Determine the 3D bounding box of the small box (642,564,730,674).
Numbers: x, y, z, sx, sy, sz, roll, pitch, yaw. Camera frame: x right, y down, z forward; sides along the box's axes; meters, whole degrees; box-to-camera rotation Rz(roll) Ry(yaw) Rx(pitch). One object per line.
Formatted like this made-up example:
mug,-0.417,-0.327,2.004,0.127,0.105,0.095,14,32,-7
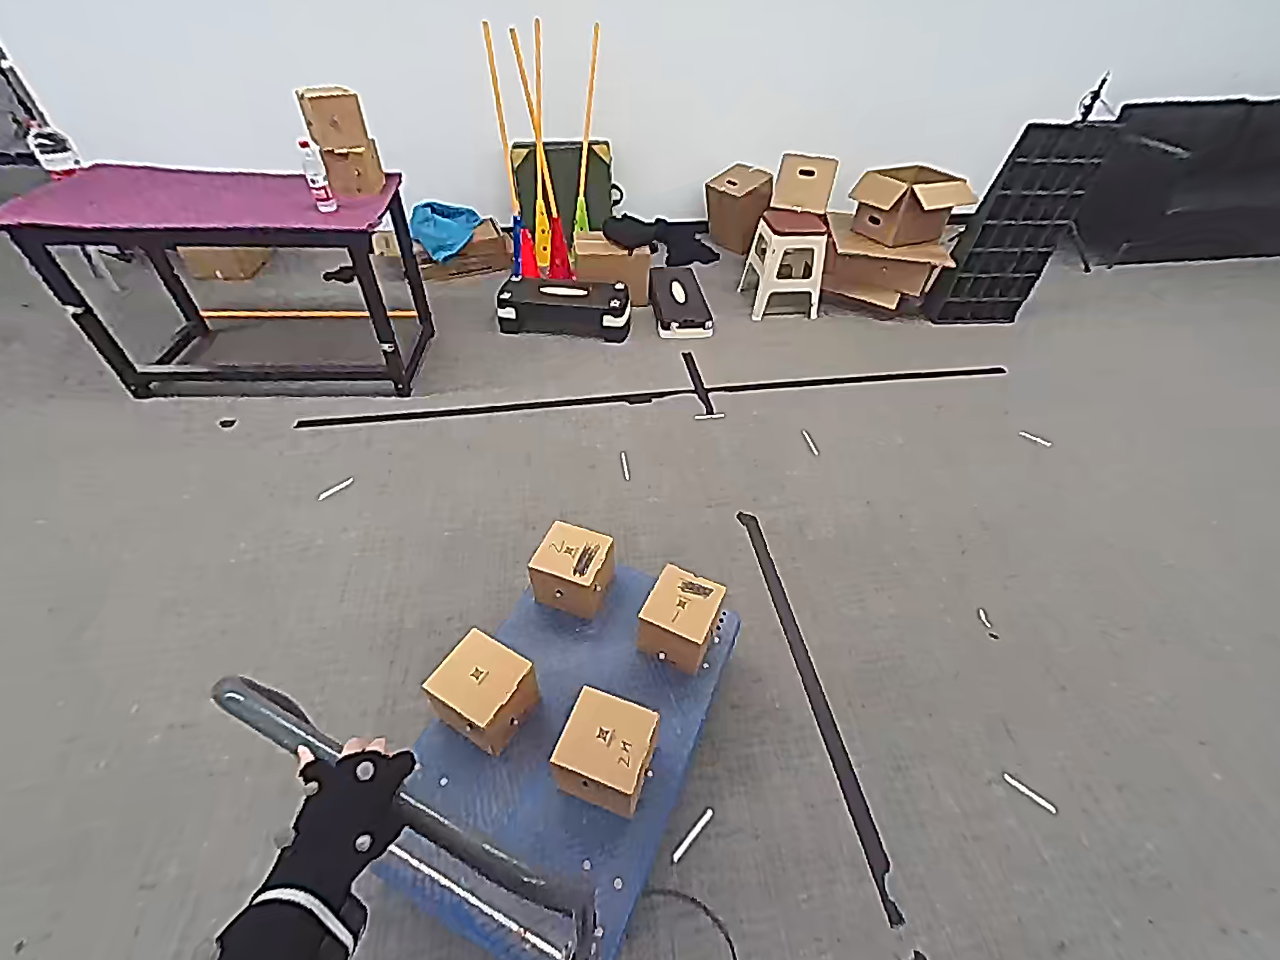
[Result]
small box,0.110,0.353,1.369,0.168,0.176,0.179,21,49,17

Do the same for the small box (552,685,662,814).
small box,-0.066,0.571,1.142,0.179,0.176,0.168,16,47,14

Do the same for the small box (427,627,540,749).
small box,-0.346,0.476,1.227,0.179,0.176,0.168,24,49,19
